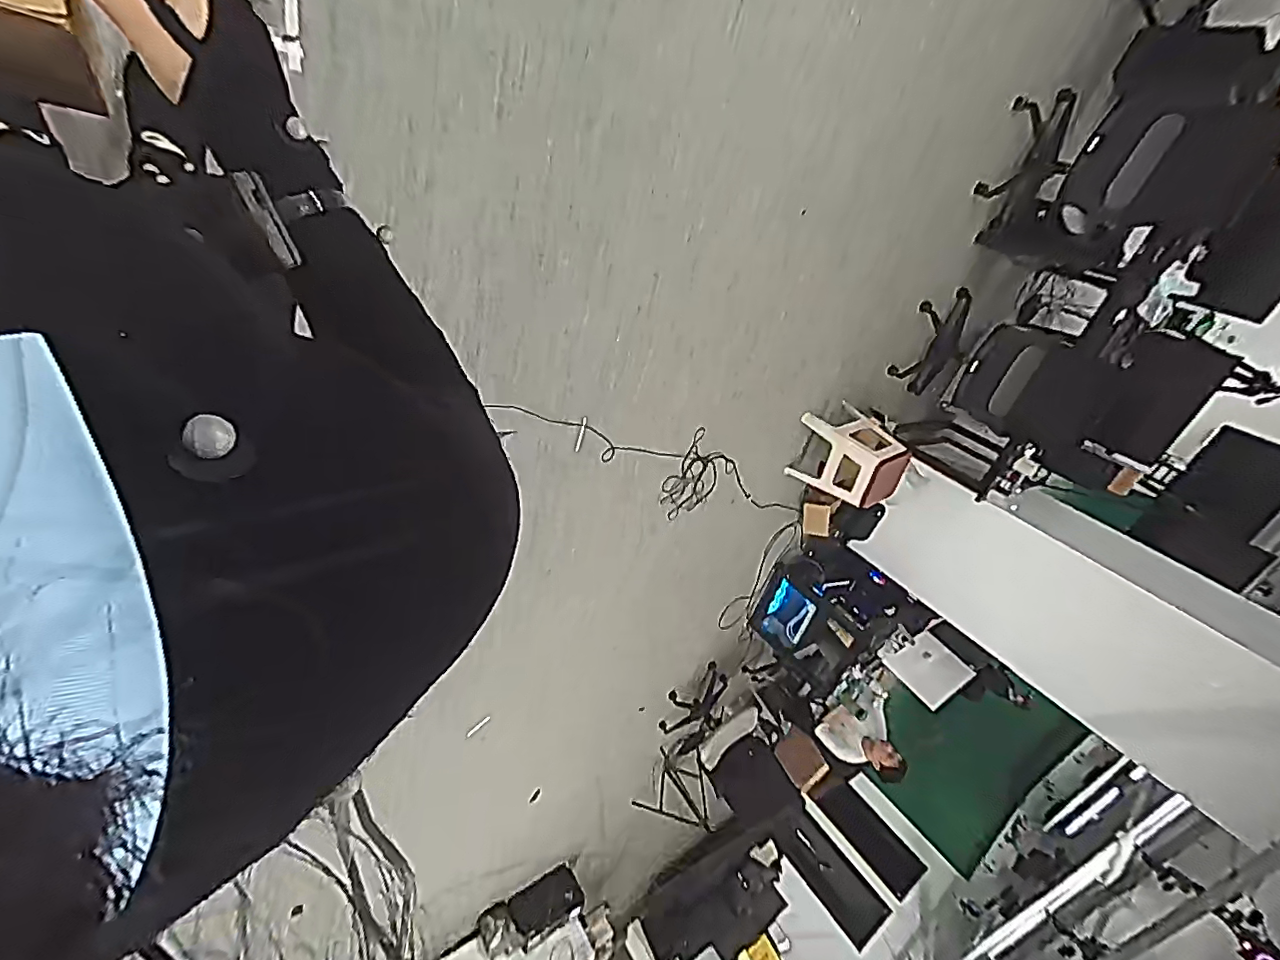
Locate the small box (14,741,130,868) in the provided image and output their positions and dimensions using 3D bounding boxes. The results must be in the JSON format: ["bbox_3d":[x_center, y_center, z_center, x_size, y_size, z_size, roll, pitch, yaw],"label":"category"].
[{"bbox_3d":[-1.360,0.776,1.307,0.168,0.176,0.179,-9,127,-39],"label":"small box"}]

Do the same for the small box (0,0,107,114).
[{"bbox_3d":[-0.435,-0.352,0.305,0.168,0.176,0.179,-7,105,-37],"label":"small box"}]
